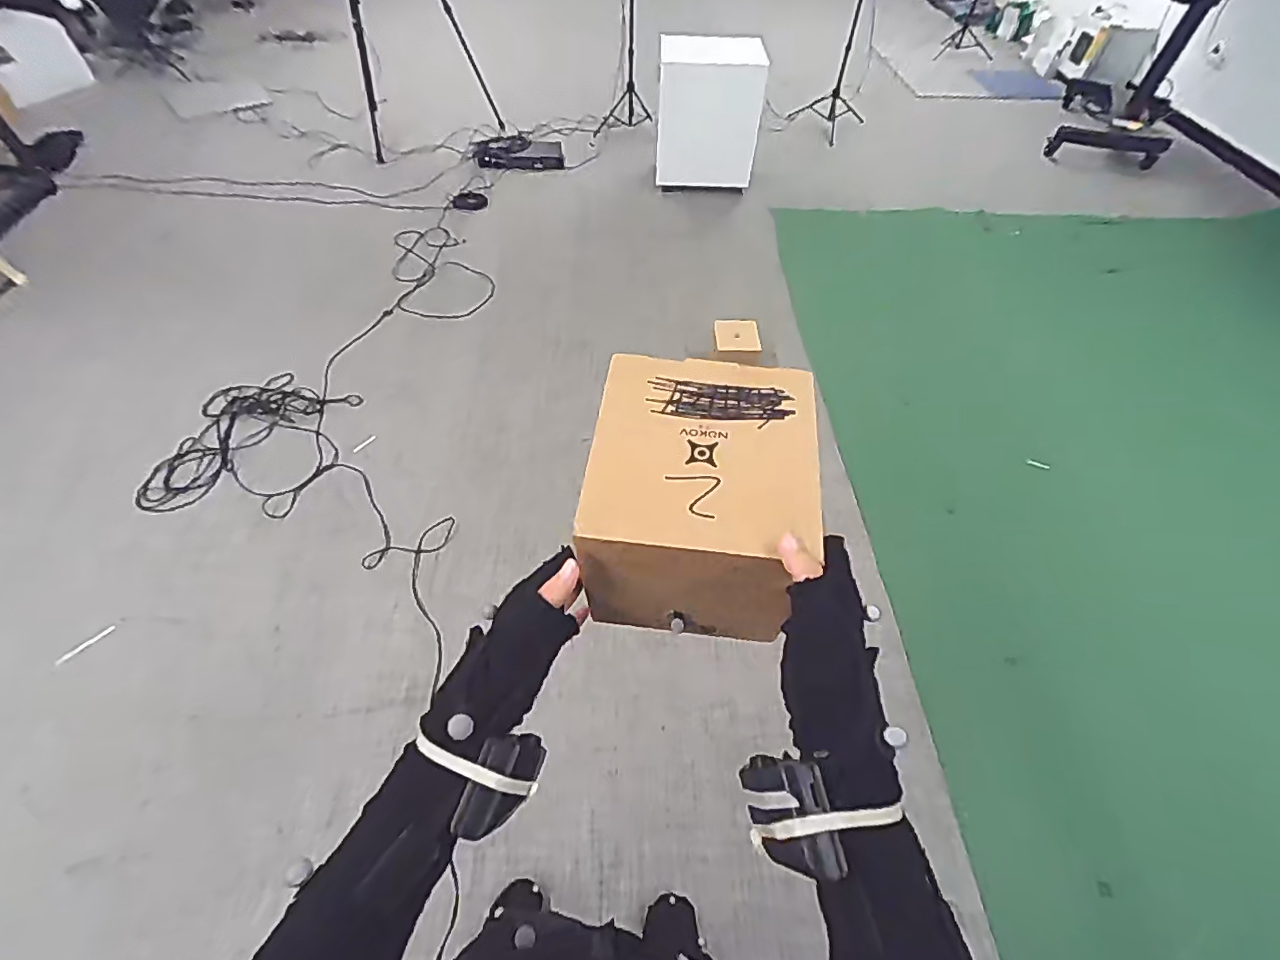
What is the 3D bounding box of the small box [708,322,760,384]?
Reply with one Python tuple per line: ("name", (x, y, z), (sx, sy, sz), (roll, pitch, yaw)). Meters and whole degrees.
("small box", (0.359, -0.489, 2.094), (0.168, 0.176, 0.179), (1, 53, -2))
